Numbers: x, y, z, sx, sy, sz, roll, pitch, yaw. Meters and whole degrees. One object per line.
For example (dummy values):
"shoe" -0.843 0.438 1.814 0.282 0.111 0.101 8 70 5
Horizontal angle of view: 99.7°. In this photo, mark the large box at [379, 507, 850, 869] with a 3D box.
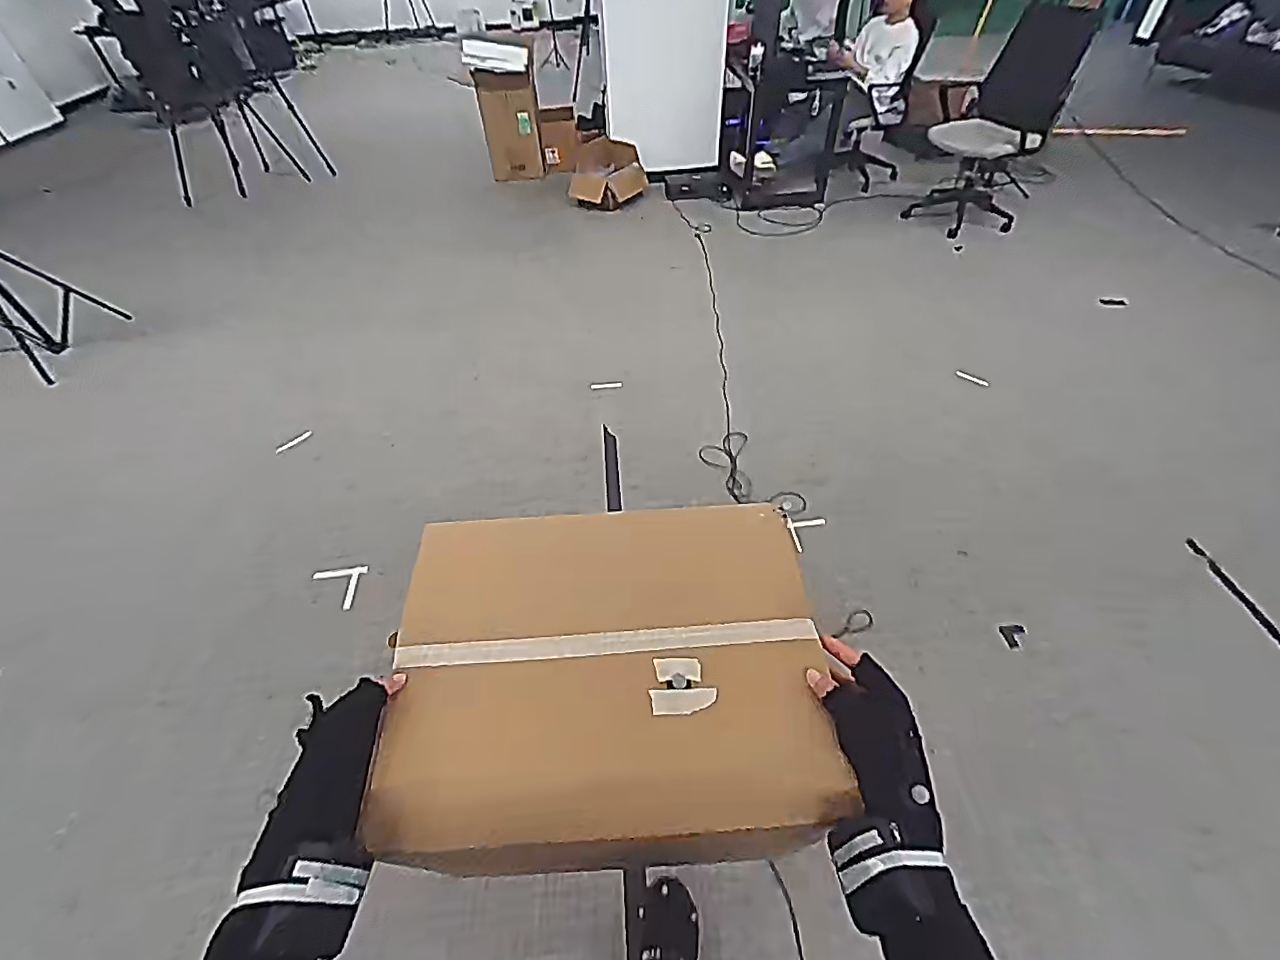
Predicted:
"large box" -0.028 0.257 0.656 0.408 0.320 0.320 -3 52 -1
